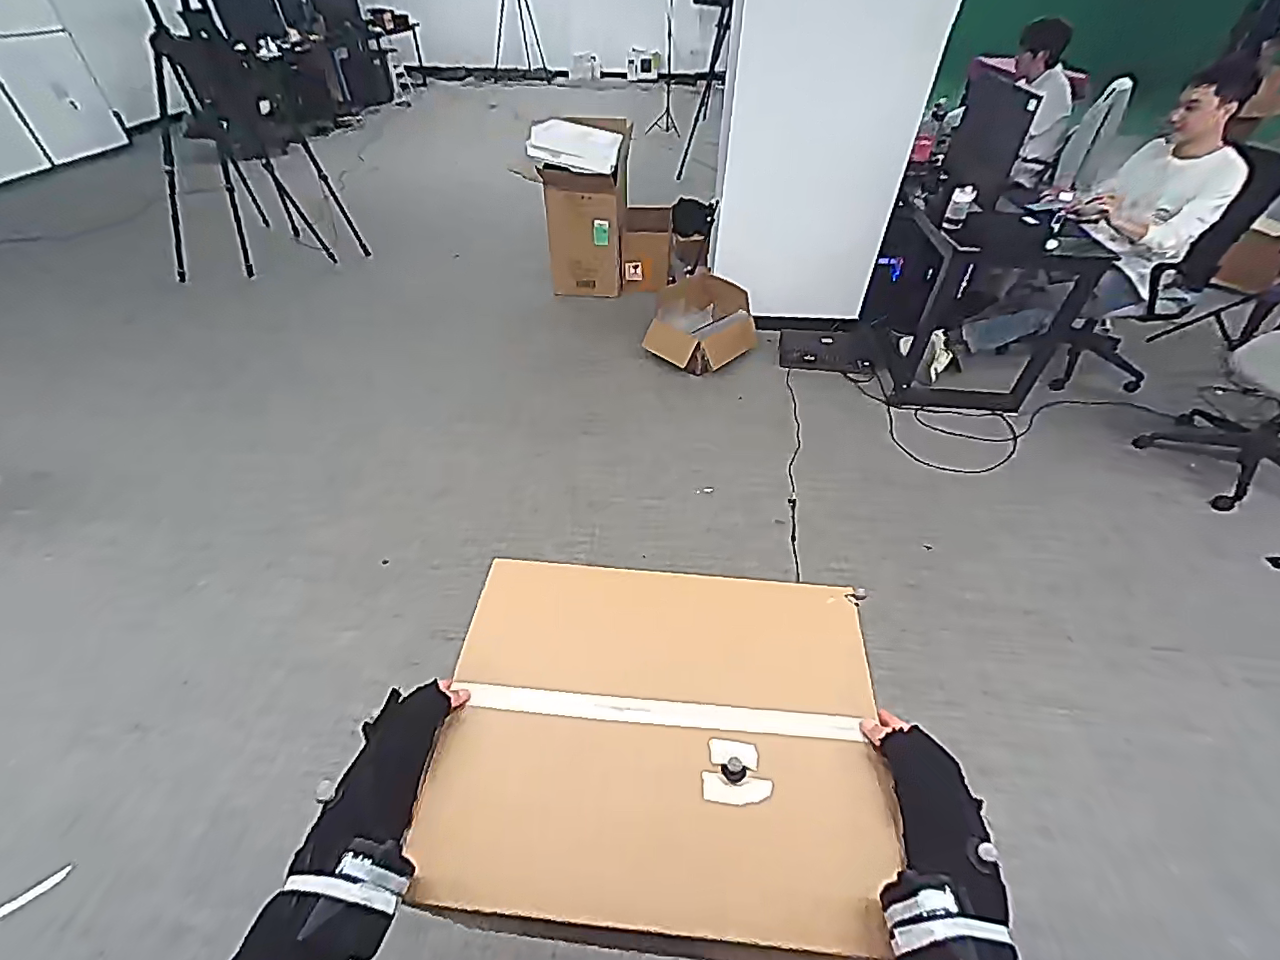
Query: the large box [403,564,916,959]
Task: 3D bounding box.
[{"bbox_3d":[0.019,0.323,0.619,0.408,0.320,0.320,5,47,3],"label":"large box"}]
